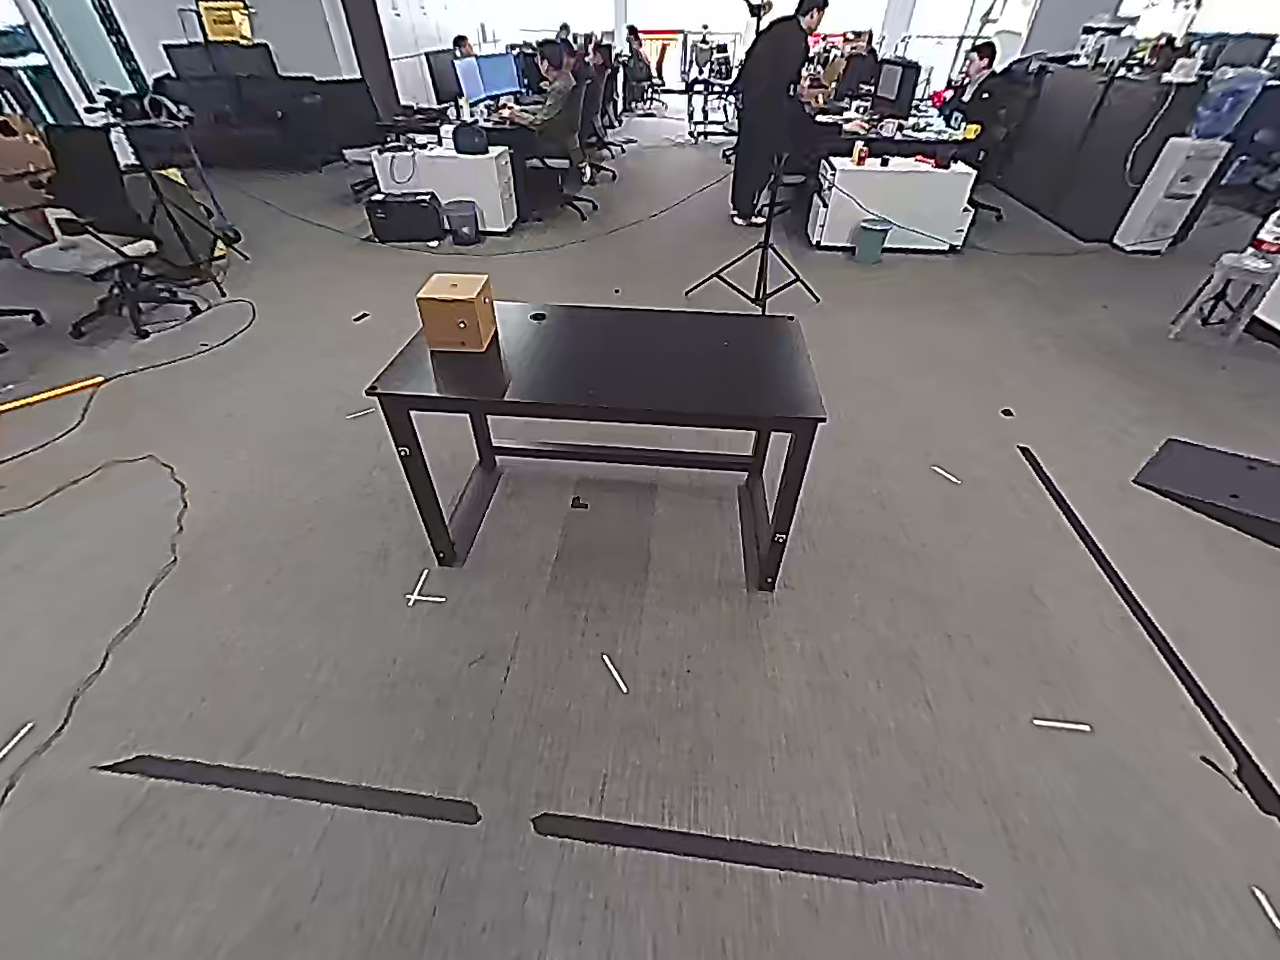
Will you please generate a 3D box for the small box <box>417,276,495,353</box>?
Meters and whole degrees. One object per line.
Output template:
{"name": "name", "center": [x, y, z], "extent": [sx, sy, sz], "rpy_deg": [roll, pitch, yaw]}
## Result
{"name": "small box", "center": [-0.537, -0.492, 1.608], "extent": [0.168, 0.176, 0.179], "rpy_deg": [2, 40, 0]}
